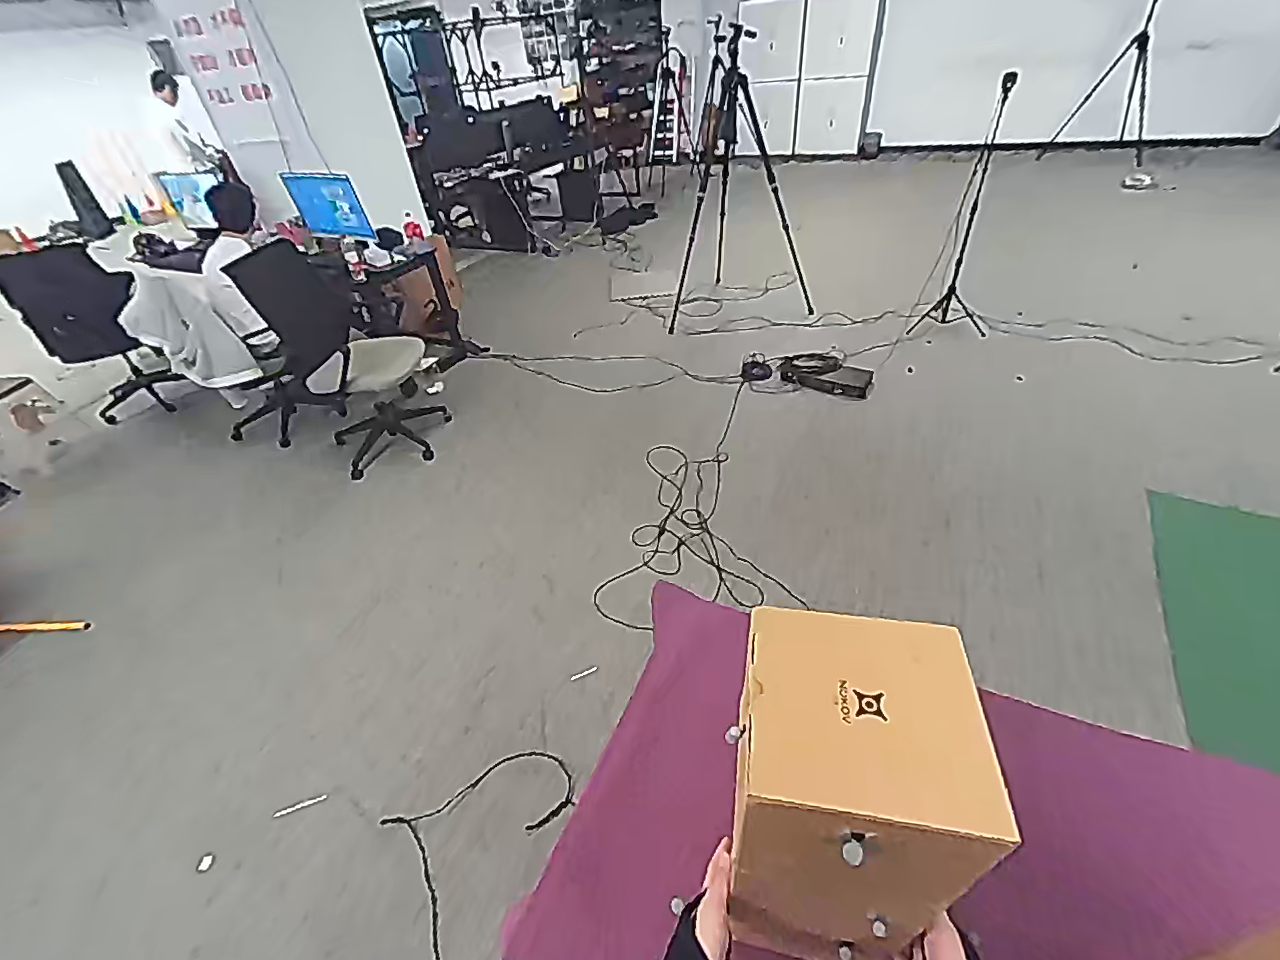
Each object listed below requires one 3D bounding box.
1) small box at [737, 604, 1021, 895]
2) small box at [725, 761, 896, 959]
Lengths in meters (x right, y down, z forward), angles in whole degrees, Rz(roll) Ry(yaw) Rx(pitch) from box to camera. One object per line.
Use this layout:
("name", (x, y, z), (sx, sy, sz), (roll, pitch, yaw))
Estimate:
("small box", (0.181, 0.233, 0.470), (0.179, 0.176, 0.168), (4, 42, 11))
("small box", (0.206, 0.476, 0.687), (0.179, 0.176, 0.168), (4, 41, 13))
